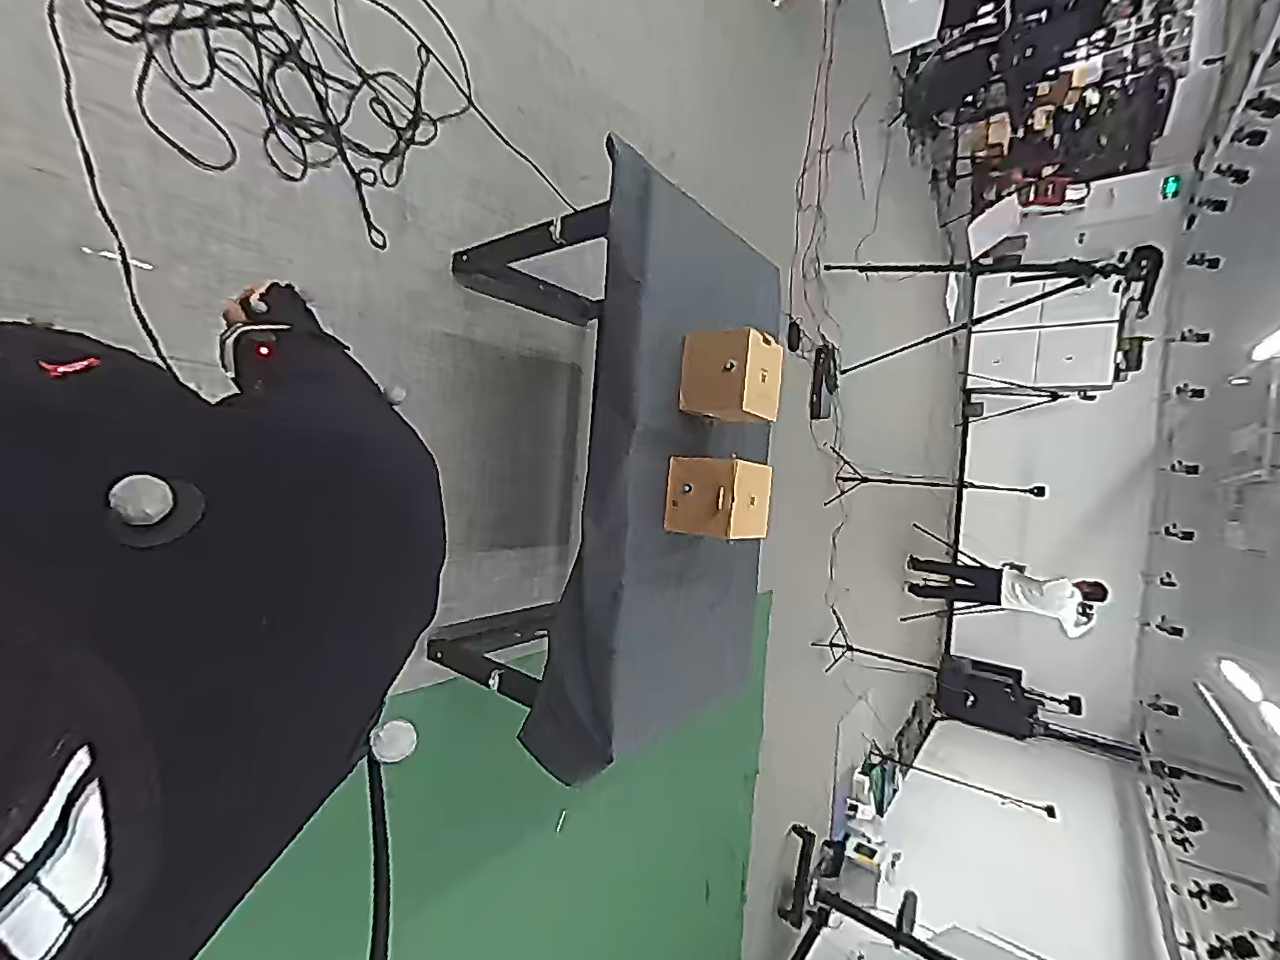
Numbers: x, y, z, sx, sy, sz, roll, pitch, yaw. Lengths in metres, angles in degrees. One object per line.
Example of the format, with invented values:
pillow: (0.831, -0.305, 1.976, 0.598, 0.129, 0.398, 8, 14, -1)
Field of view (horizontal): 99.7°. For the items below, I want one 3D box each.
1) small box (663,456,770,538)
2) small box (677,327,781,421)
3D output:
small box: (0.173, 0.036, 1.219, 0.179, 0.176, 0.168, 6, 90, -52)
small box: (0.200, -0.232, 1.223, 0.168, 0.176, 0.179, 6, 90, -51)
